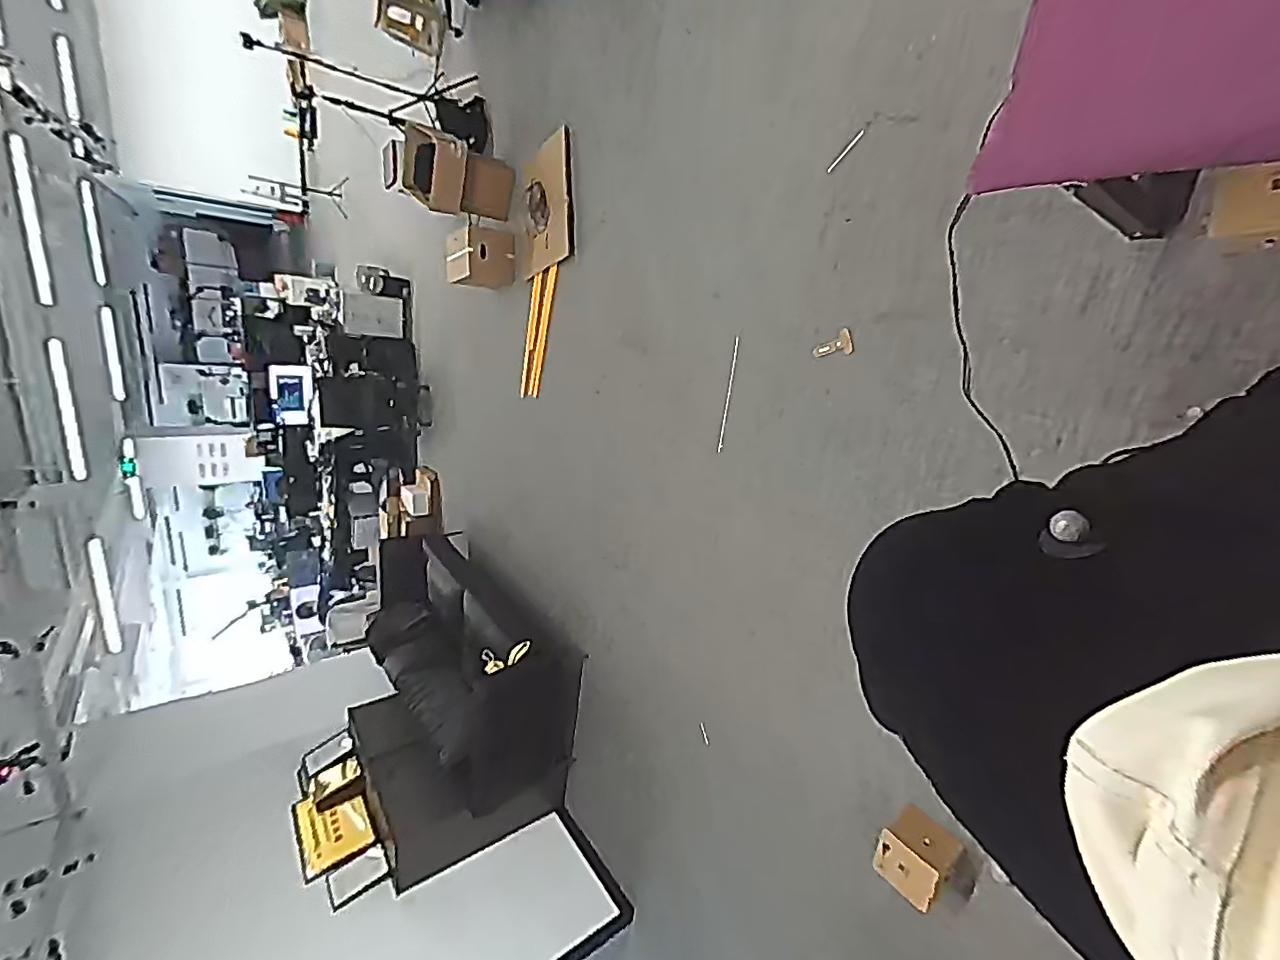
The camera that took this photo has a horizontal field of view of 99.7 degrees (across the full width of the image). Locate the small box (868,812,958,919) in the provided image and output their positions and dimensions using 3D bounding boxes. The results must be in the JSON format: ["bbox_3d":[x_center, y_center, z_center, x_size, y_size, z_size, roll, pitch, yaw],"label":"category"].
[{"bbox_3d":[0.840,1.172,1.660,0.179,0.176,0.168,27,115,47],"label":"small box"}]

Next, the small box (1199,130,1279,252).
[{"bbox_3d":[1.179,-0.530,0.998,0.168,0.176,0.179,14,106,50],"label":"small box"}]
